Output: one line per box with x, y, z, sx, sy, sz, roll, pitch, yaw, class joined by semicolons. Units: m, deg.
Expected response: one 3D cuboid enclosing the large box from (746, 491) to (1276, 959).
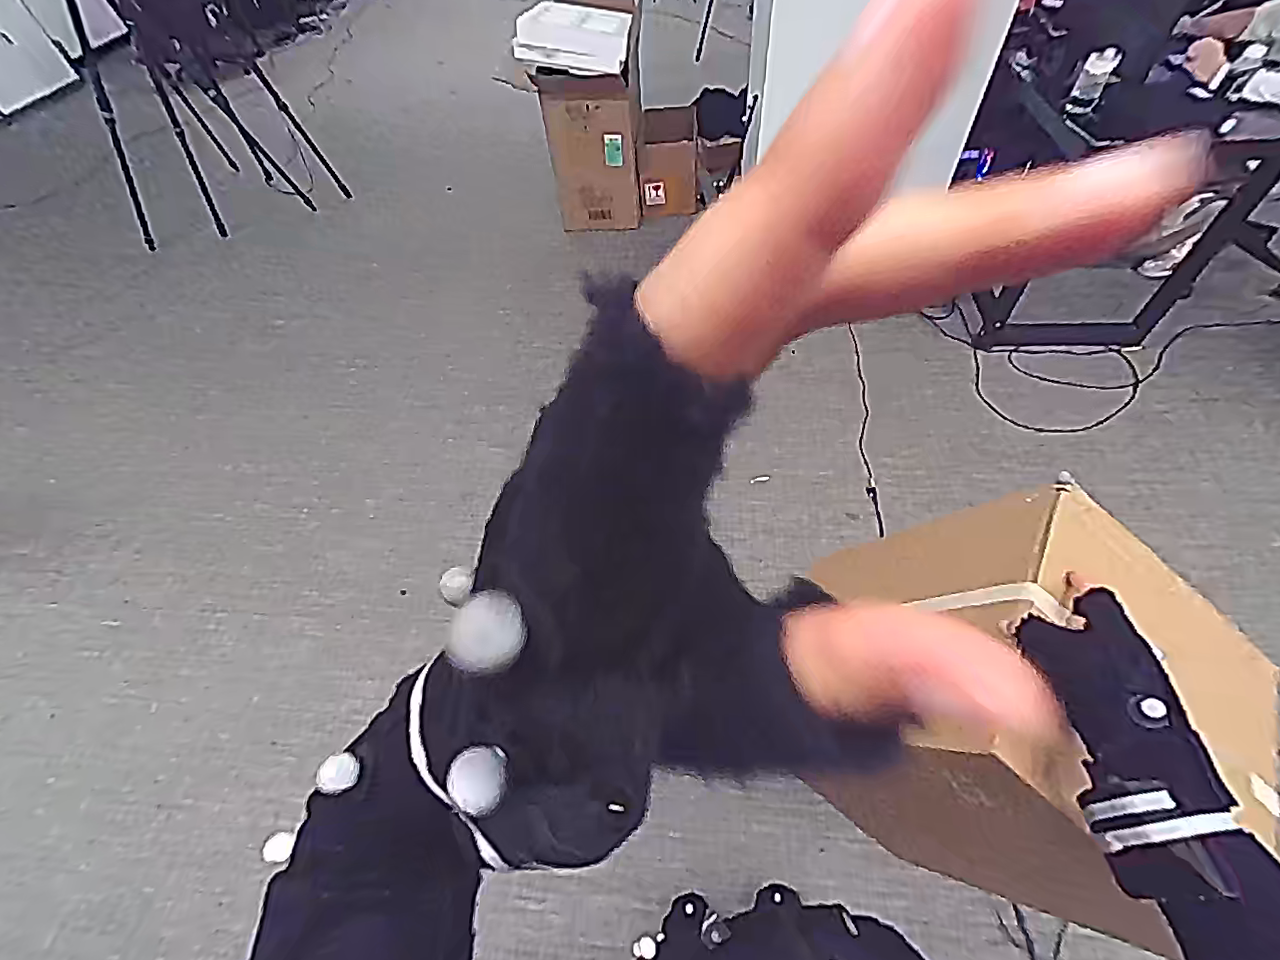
0.413;0.278;0.673;0.320;0.408;0.320;40;62;-2;large box
